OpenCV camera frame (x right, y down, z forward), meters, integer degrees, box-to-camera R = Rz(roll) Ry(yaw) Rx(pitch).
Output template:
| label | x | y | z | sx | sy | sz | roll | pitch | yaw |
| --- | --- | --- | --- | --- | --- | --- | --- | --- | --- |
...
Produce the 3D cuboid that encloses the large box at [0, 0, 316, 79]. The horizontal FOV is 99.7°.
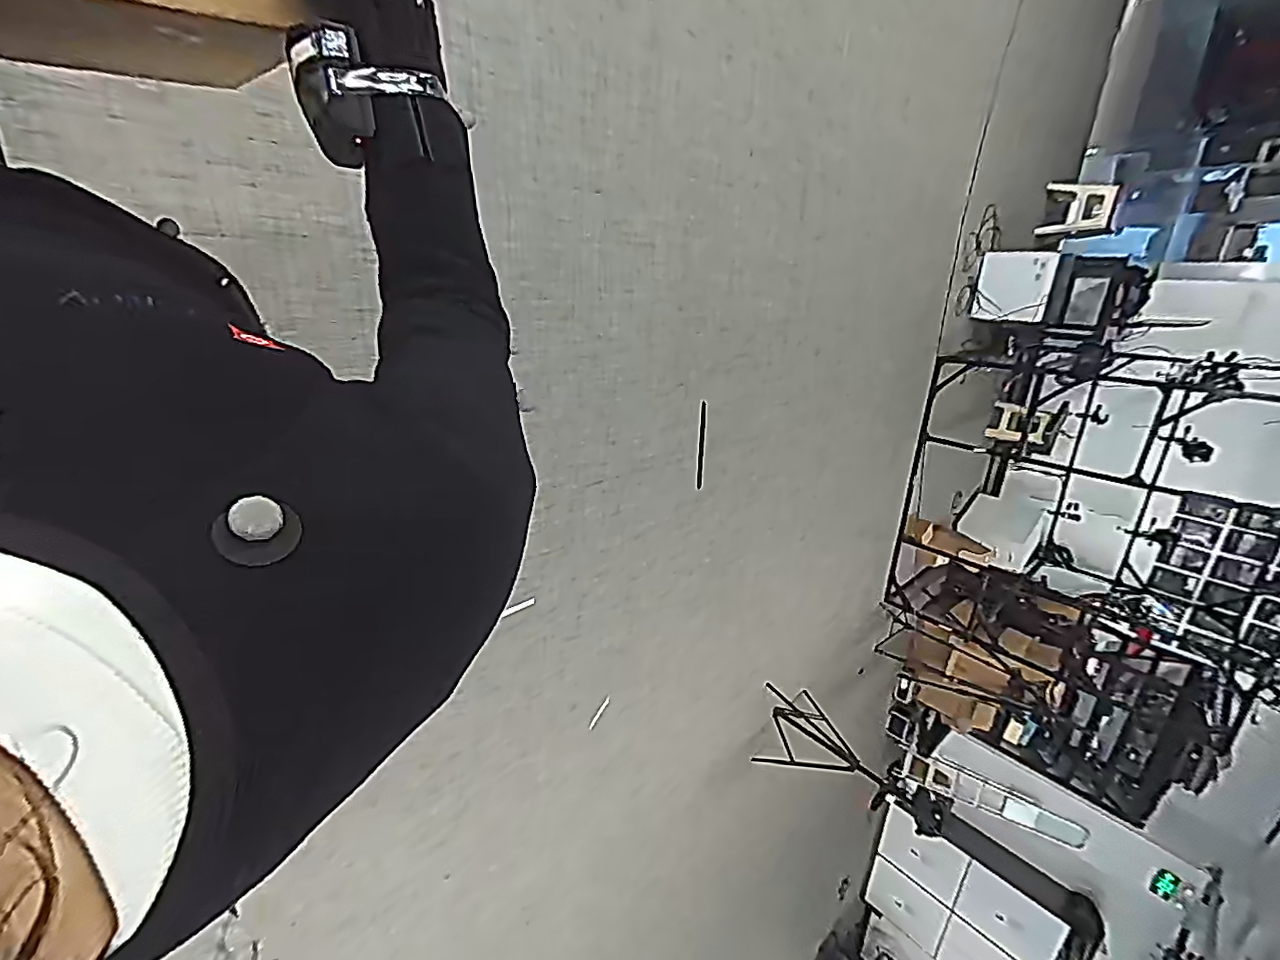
| label | x | y | z | sx | sy | sz | roll | pitch | yaw |
| --- | --- | --- | --- | --- | --- | --- | --- | --- | --- |
| large box | -0.448 | -0.416 | 0.250 | 0.408 | 0.320 | 0.320 | -22 | 127 | -38 |
